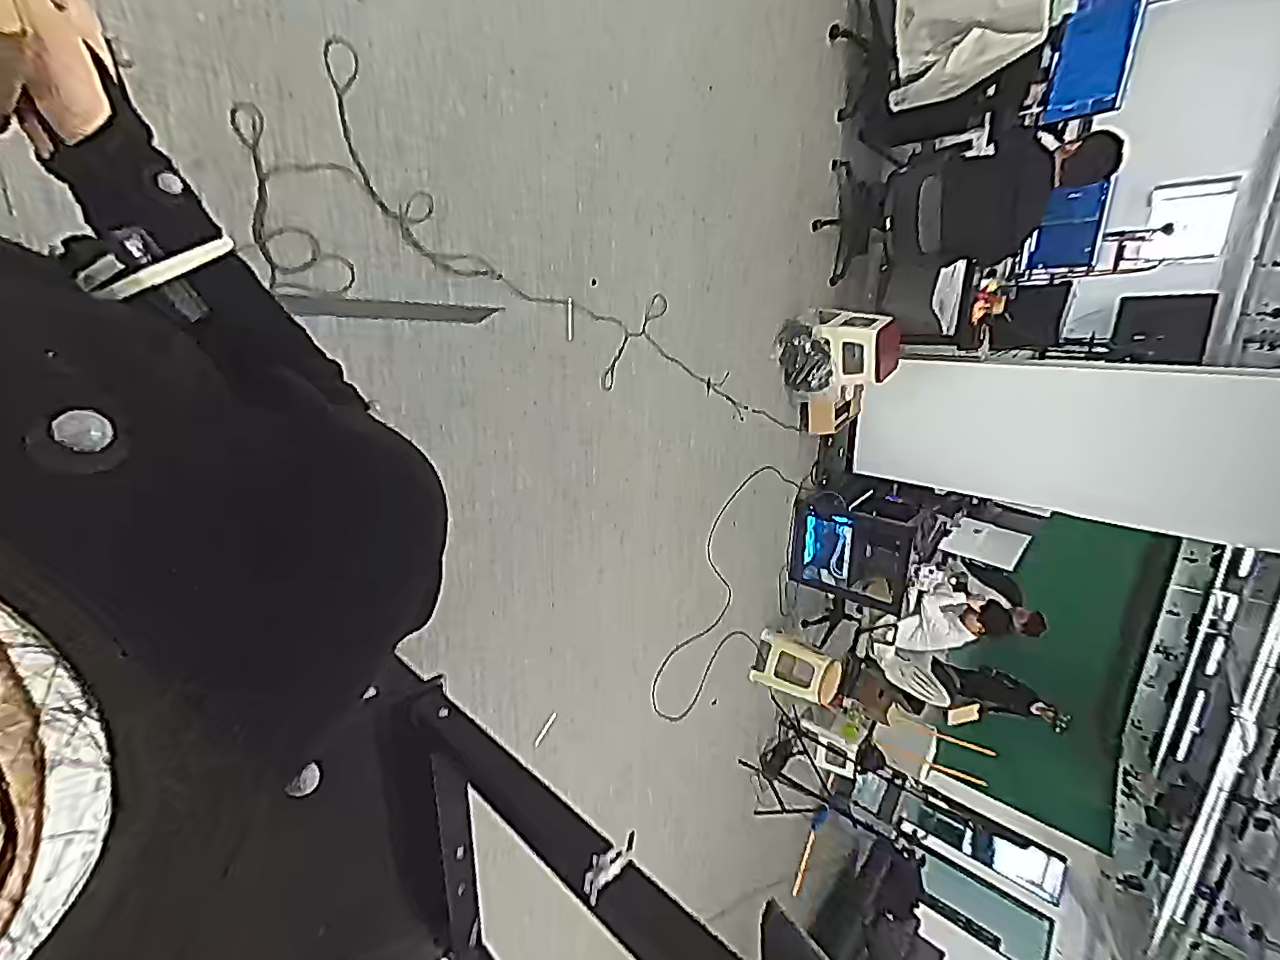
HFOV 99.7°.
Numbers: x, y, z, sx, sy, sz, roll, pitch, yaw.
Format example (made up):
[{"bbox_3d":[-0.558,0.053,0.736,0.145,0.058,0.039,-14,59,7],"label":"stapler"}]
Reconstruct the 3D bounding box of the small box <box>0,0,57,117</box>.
[{"bbox_3d":[-0.375,-0.246,0.194,0.179,0.176,0.168,-26,118,-47],"label":"small box"}]
